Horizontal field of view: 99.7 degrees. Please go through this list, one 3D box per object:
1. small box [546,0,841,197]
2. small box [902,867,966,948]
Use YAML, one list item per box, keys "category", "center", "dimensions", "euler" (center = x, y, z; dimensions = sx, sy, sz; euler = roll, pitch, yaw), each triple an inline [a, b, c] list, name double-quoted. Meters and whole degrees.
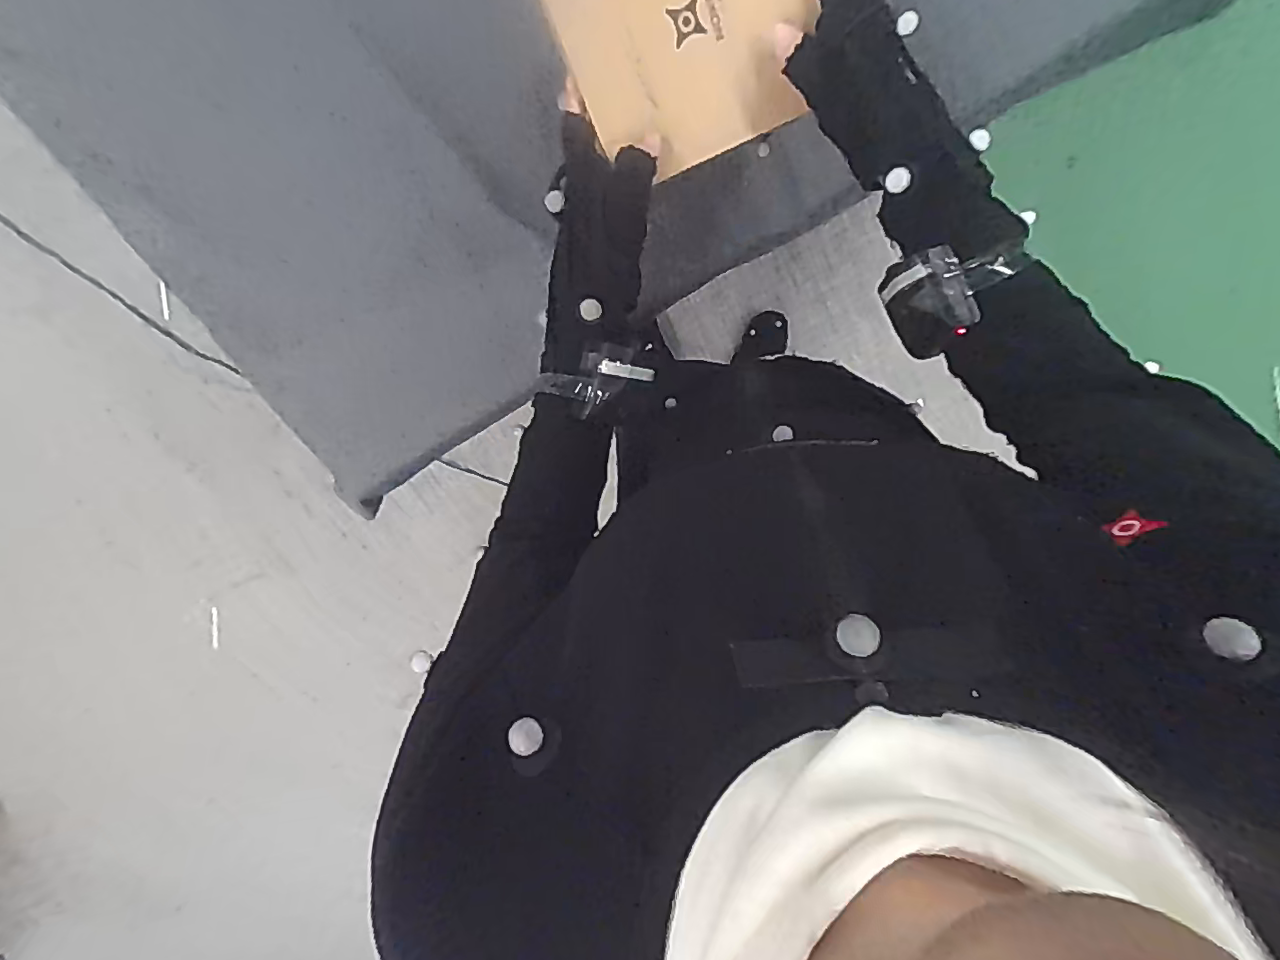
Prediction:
- category: "small box"
  center: [0.032, -0.349, 0.433]
  dimensions: [0.179, 0.176, 0.168]
  euler: [-21, 116, 9]
- category: "small box"
  center: [1.128, 1.634, 2.066]
  dimensions: [0.179, 0.176, 0.168]
  euler: [-24, 112, 6]
